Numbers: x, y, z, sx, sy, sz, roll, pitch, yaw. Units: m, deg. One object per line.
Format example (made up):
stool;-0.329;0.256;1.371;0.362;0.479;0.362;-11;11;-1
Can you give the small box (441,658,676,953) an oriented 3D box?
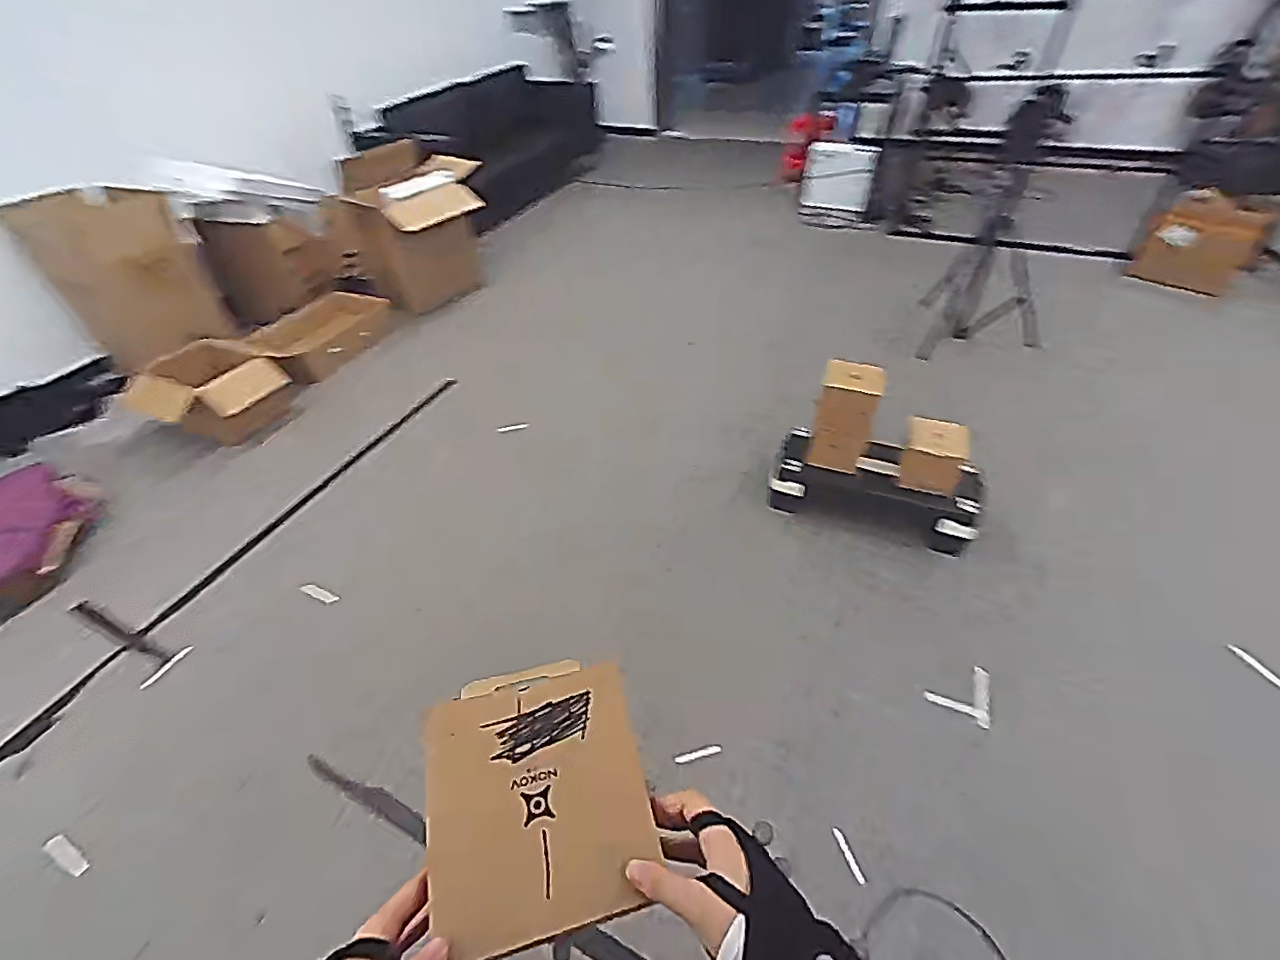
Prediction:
small box;-0.076;0.289;0.487;0.168;0.176;0.179;-10;53;-11

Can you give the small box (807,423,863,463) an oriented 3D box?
small box;0.674;-0.156;1.888;0.179;0.176;0.168;13;47;17

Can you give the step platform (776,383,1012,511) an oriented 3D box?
step platform;0.805;-0.121;1.790;0.684;0.204;0.286;15;47;18

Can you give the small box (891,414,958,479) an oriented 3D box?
small box;0.941;-0.090;1.798;0.168;0.176;0.179;13;47;18

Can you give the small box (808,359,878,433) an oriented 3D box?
small box;0.665;-0.273;1.773;0.179;0.176;0.168;12;45;16
